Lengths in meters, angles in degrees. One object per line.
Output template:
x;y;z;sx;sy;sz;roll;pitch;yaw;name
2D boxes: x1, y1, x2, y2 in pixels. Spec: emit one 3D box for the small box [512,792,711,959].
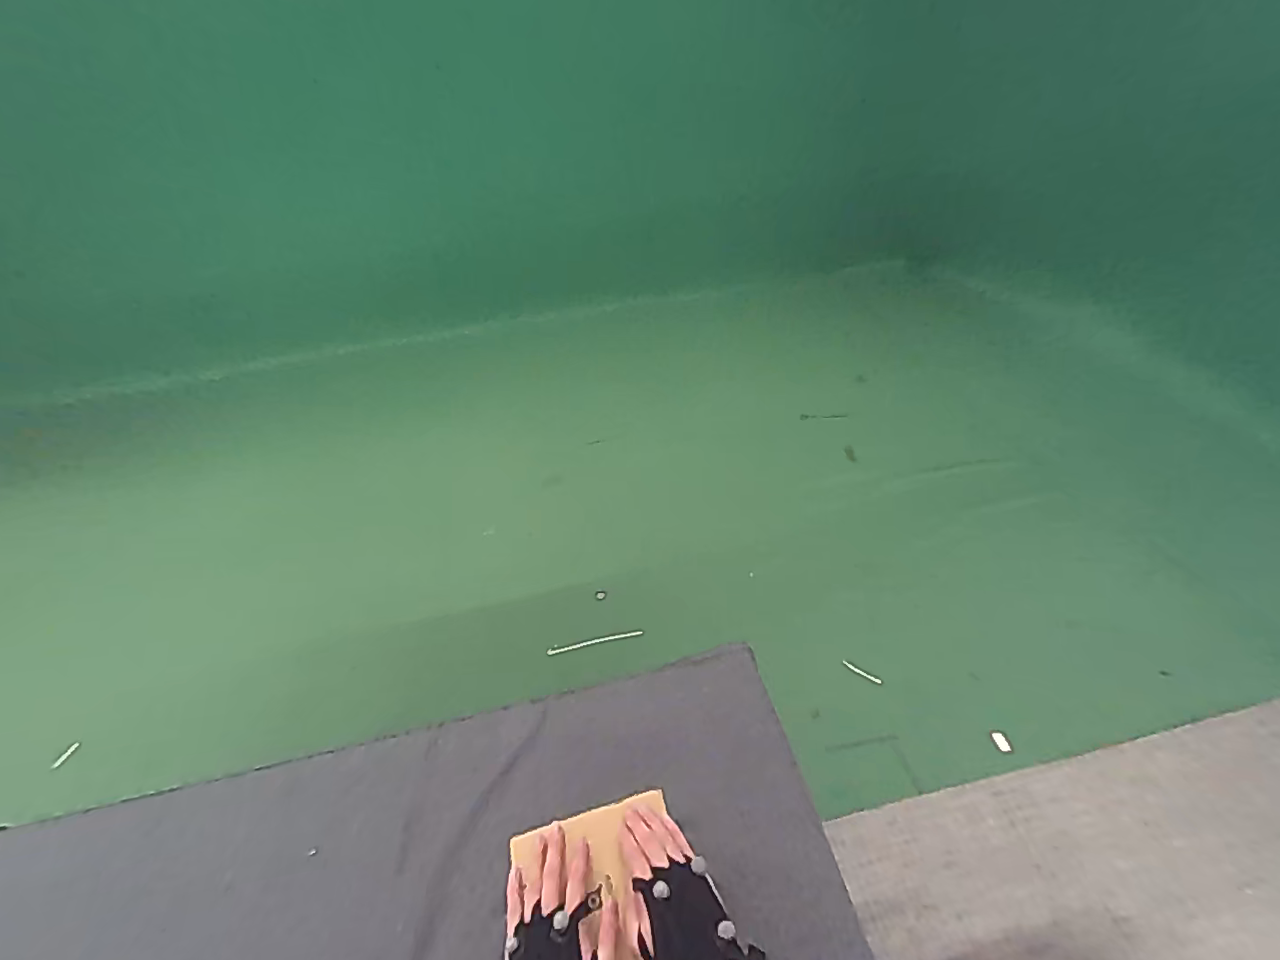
-0.032;0.492;0.614;0.179;0.176;0.168;-16;44;-10;small box
